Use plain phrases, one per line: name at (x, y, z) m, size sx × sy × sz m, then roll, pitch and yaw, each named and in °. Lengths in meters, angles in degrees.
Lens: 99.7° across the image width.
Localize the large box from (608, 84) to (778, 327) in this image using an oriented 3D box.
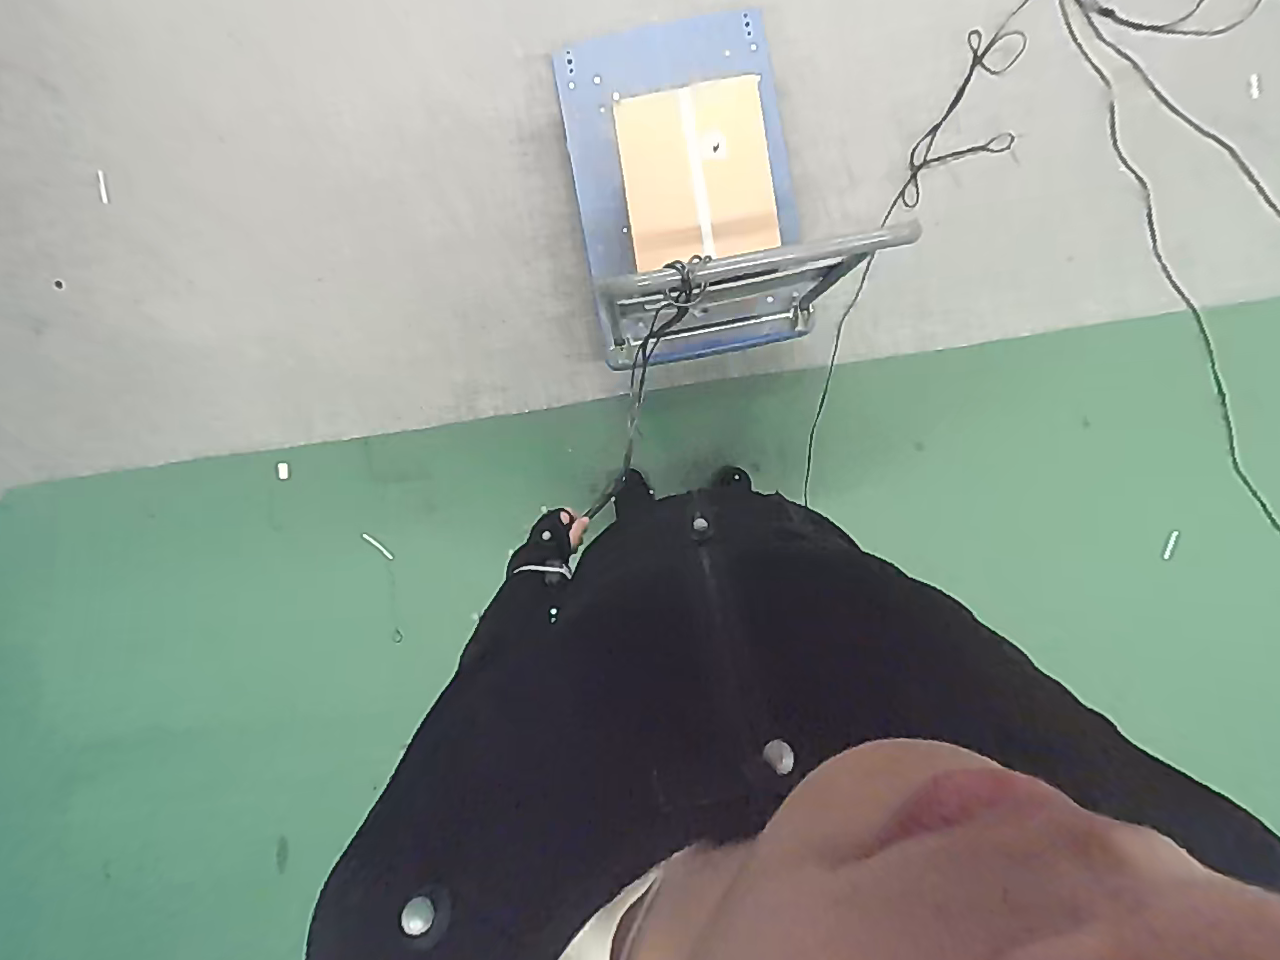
large box at (0.121, -0.630, 1.312) m, size 0.320 × 0.320 × 0.408 m, roll -9°, pitch 90°, yaw 1°
